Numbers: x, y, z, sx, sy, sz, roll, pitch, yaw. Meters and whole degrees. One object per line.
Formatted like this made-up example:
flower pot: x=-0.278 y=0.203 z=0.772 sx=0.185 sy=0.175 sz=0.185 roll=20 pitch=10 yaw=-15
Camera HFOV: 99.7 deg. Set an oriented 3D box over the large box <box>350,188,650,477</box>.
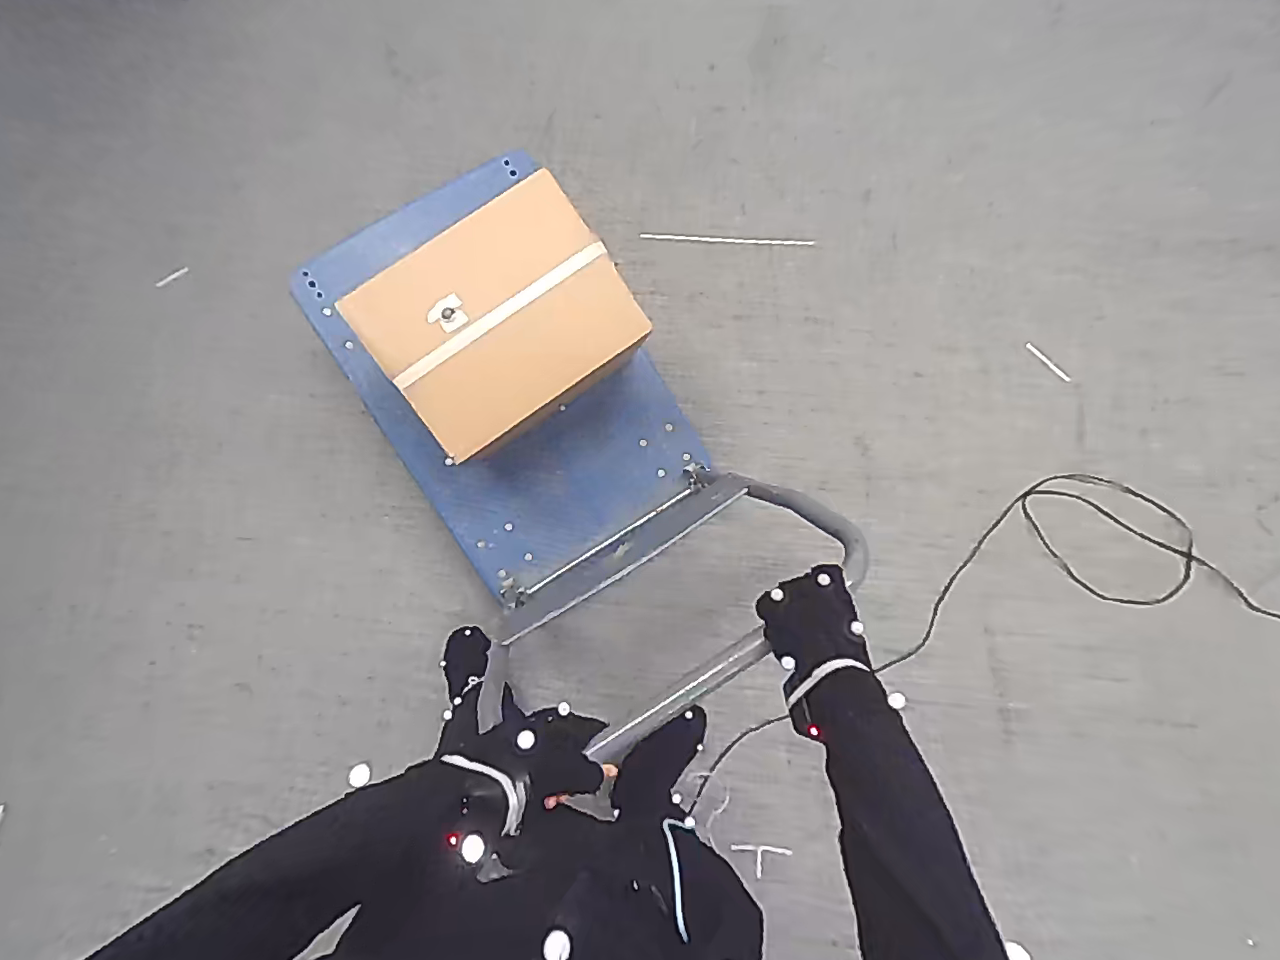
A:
large box: x=-0.244 y=-0.258 z=1.046 sx=0.408 sy=0.320 sz=0.320 roll=-37 pitch=98 yaw=-3
